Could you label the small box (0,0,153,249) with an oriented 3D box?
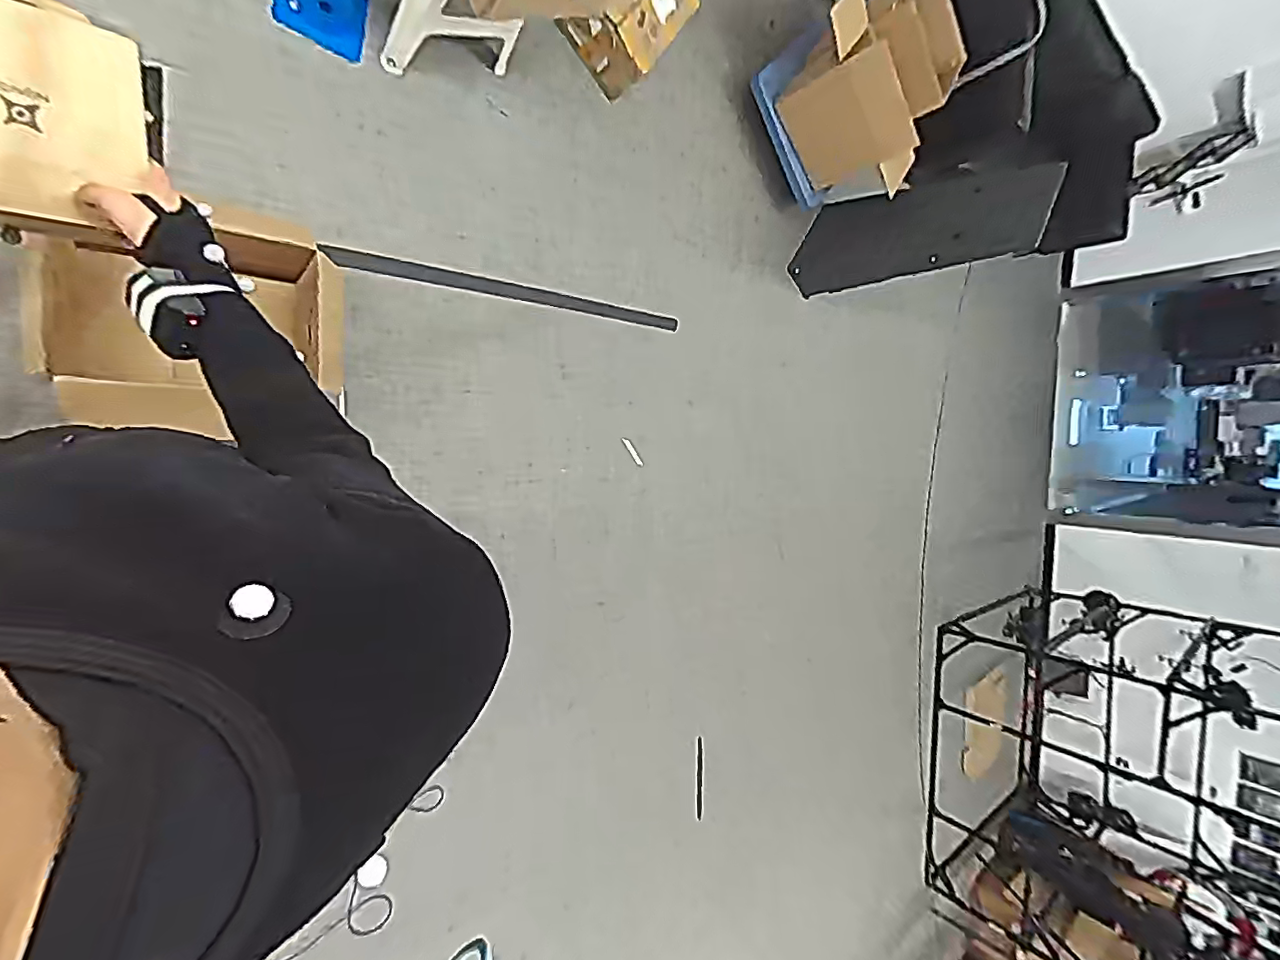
[{"bbox_3d":[-0.597,-0.335,0.520,0.168,0.176,0.179,-8,108,-47],"label":"small box"}]
